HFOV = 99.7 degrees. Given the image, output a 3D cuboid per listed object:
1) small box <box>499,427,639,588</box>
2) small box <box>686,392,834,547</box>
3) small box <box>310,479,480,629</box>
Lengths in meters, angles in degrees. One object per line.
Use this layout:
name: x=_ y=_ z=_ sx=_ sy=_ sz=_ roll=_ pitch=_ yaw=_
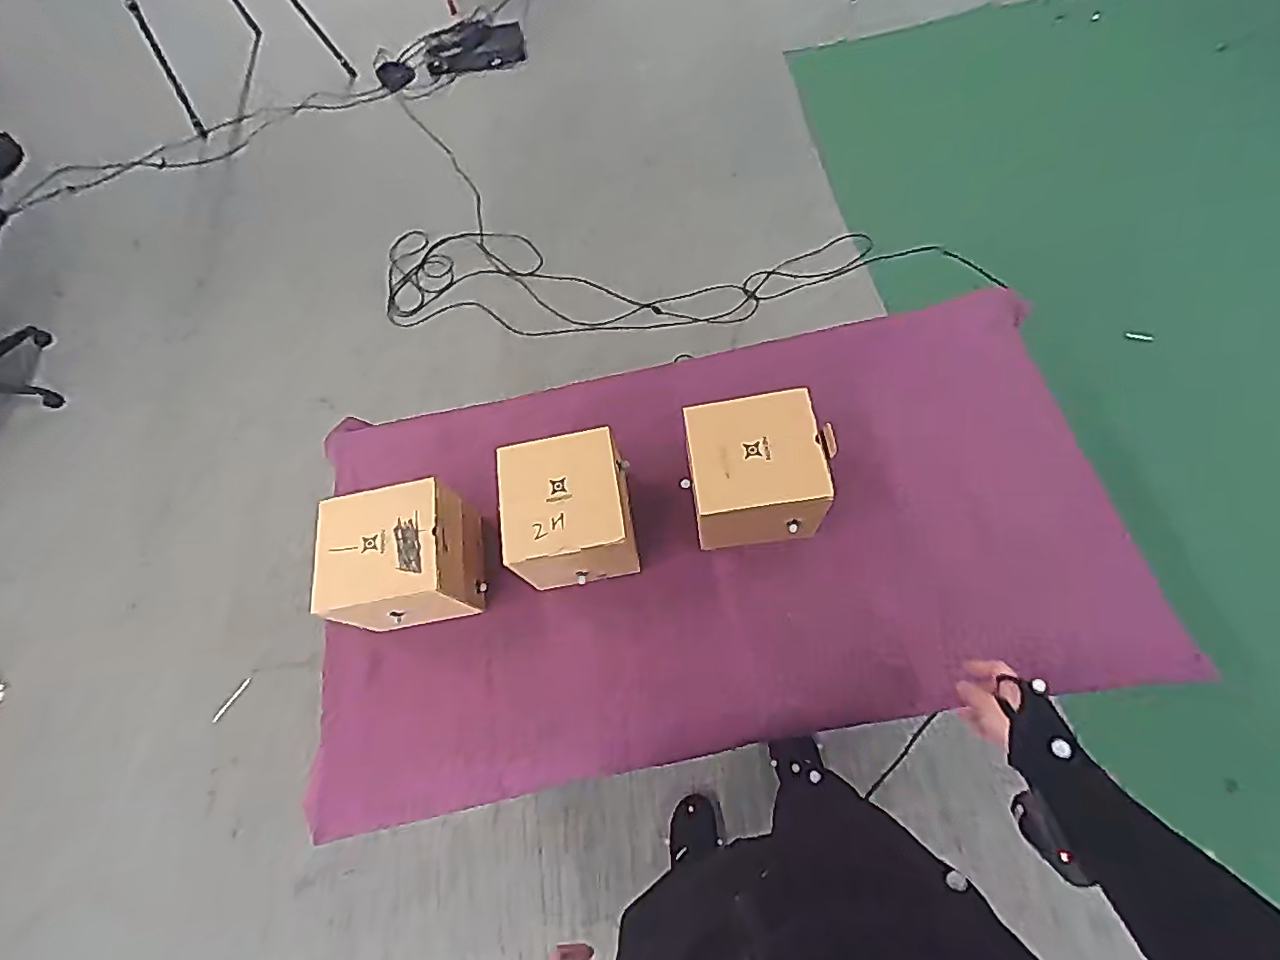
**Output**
small box: x=-0.100 y=0.047 z=0.802 sx=0.168 sy=0.176 sz=0.179 roll=-11 pitch=67 yaw=3
small box: x=0.164 y=-0.008 z=0.795 sx=0.179 sy=0.176 sz=0.168 roll=-8 pitch=66 yaw=5
small box: x=-0.347 y=0.116 z=0.802 sx=0.179 sy=0.176 sz=0.168 roll=-11 pitch=66 yaw=3
